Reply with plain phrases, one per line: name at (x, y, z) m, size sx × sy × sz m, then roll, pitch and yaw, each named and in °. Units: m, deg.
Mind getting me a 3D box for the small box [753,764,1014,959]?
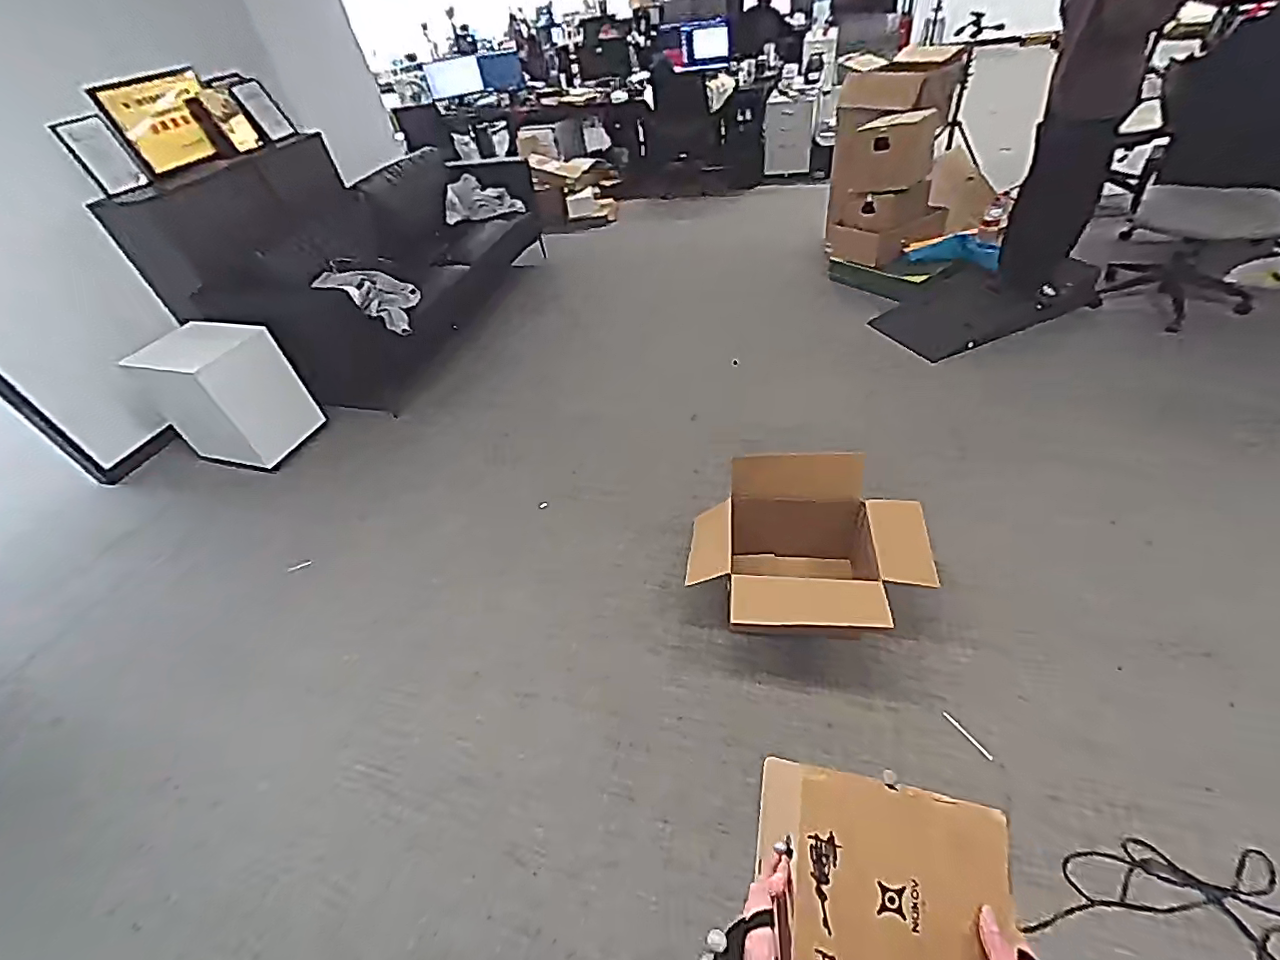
small box at (0.217, 0.380, 0.516) m, size 0.179 × 0.176 × 0.168 m, roll 9°, pitch 65°, yaw 5°
